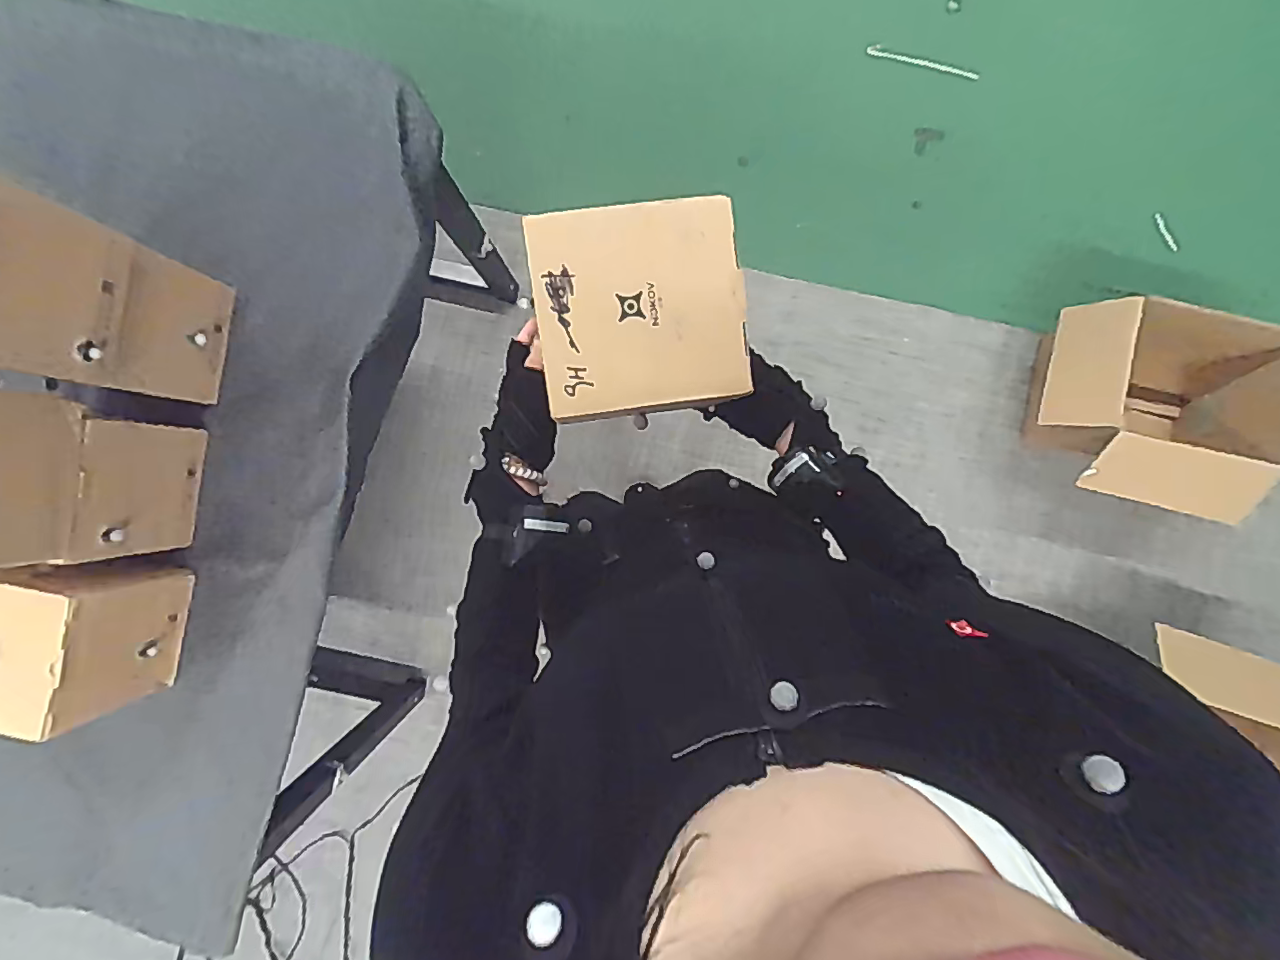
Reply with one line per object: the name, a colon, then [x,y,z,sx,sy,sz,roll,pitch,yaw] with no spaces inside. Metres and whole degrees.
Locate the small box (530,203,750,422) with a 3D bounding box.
small box: [-0.006,-0.150,0.534,0.179,0.176,0.168,-7,93,-5]
